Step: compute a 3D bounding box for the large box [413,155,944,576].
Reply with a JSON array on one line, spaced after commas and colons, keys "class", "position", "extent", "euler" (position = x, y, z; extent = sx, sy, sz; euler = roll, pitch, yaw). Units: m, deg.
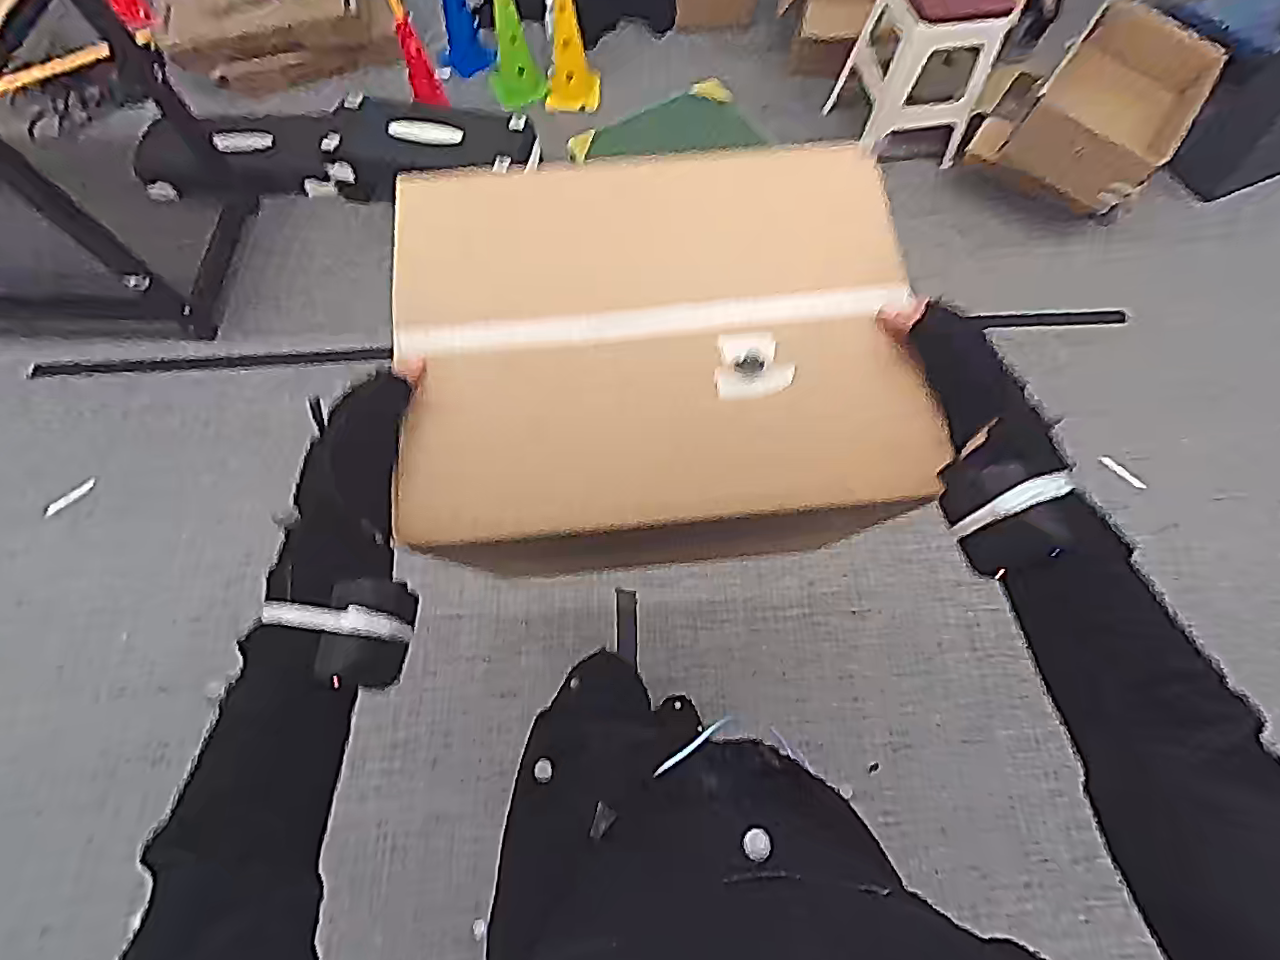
[{"class": "large box", "position": [0.015, -0.084, 0.578], "extent": [0.408, 0.320, 0.320], "euler": [-5, 76, -2]}]
